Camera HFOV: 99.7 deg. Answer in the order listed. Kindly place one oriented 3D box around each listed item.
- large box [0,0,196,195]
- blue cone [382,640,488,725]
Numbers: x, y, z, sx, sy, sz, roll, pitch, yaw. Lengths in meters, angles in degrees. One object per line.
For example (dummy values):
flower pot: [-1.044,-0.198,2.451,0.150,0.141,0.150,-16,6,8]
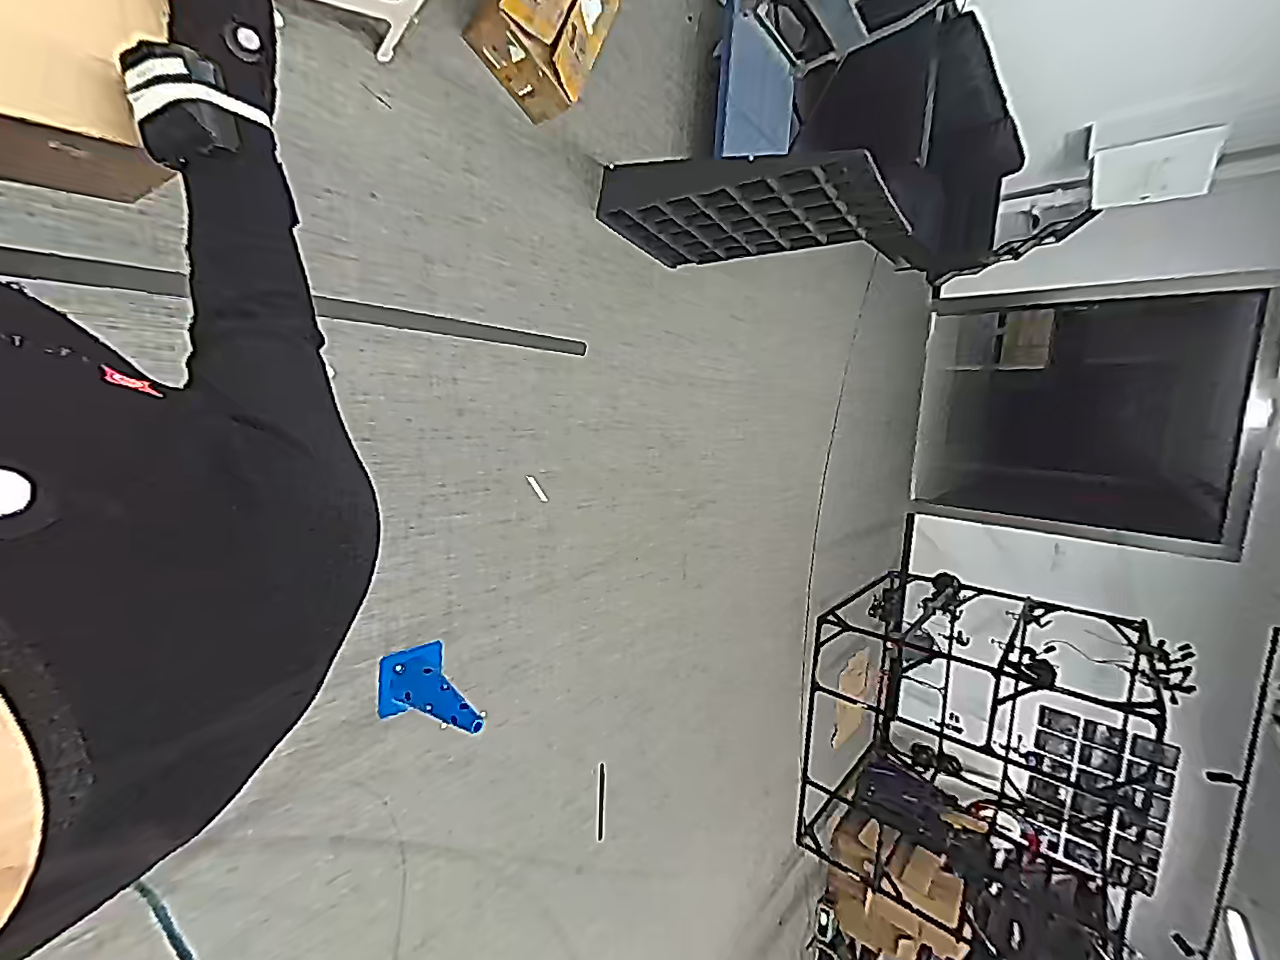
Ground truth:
large box: [-0.582,-0.408,0.333,0.408,0.320,0.320,-12,111,-49]
blue cone: [-0.574,0.623,1.567,0.192,0.380,0.193,-1,98,-51]
